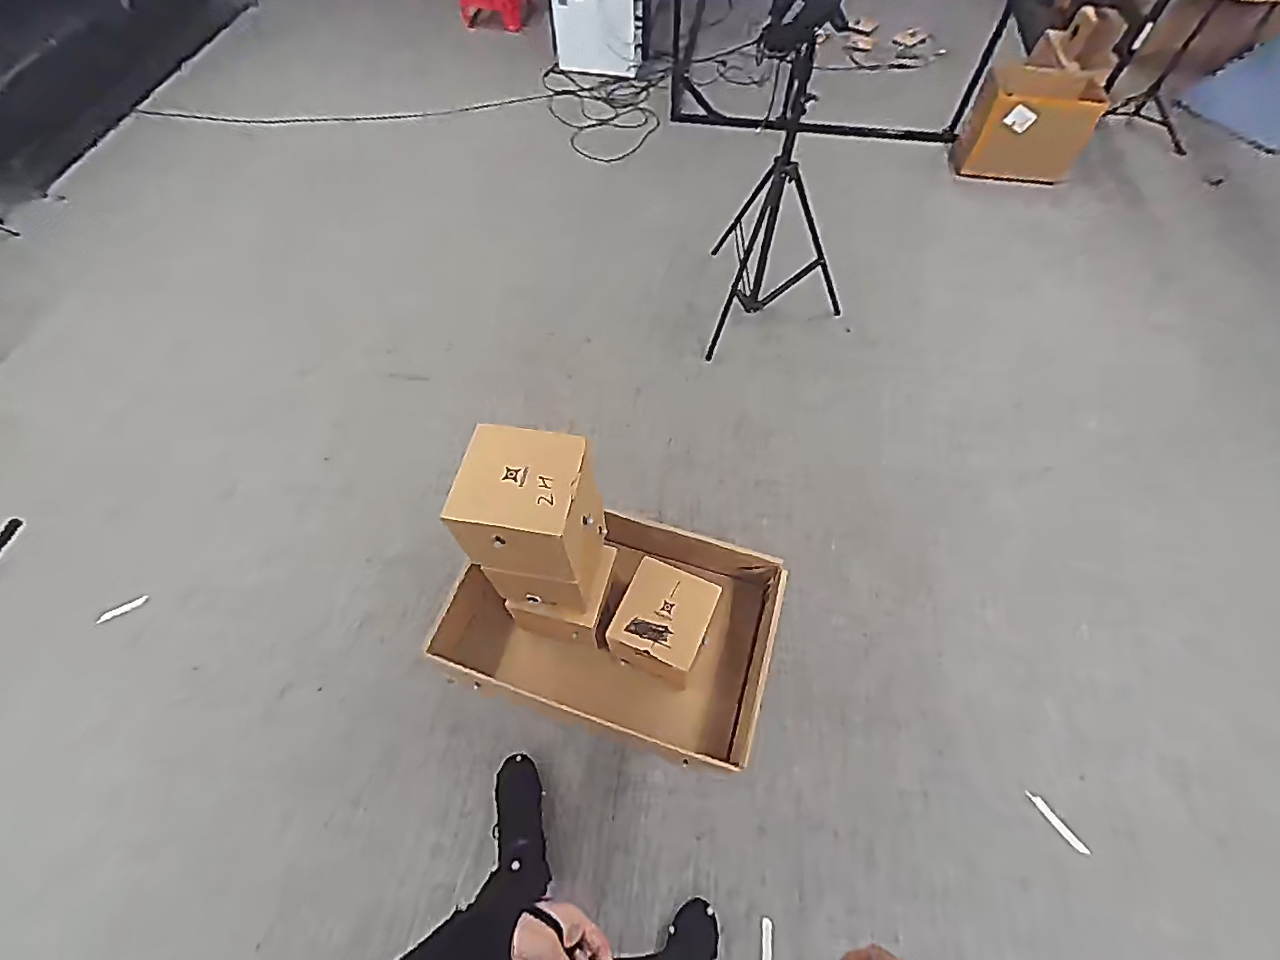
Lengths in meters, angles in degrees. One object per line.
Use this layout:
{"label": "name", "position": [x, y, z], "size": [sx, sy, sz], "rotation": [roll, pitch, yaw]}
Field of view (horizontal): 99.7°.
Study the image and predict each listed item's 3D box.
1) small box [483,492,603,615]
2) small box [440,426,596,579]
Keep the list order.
{"label": "small box", "position": [-0.162, 0.124, 0.975], "size": [0.168, 0.176, 0.179], "rotation": [8, 60, 5]}
{"label": "small box", "position": [-0.174, 0.040, 0.835], "size": [0.179, 0.176, 0.168], "rotation": [9, 60, 5]}
